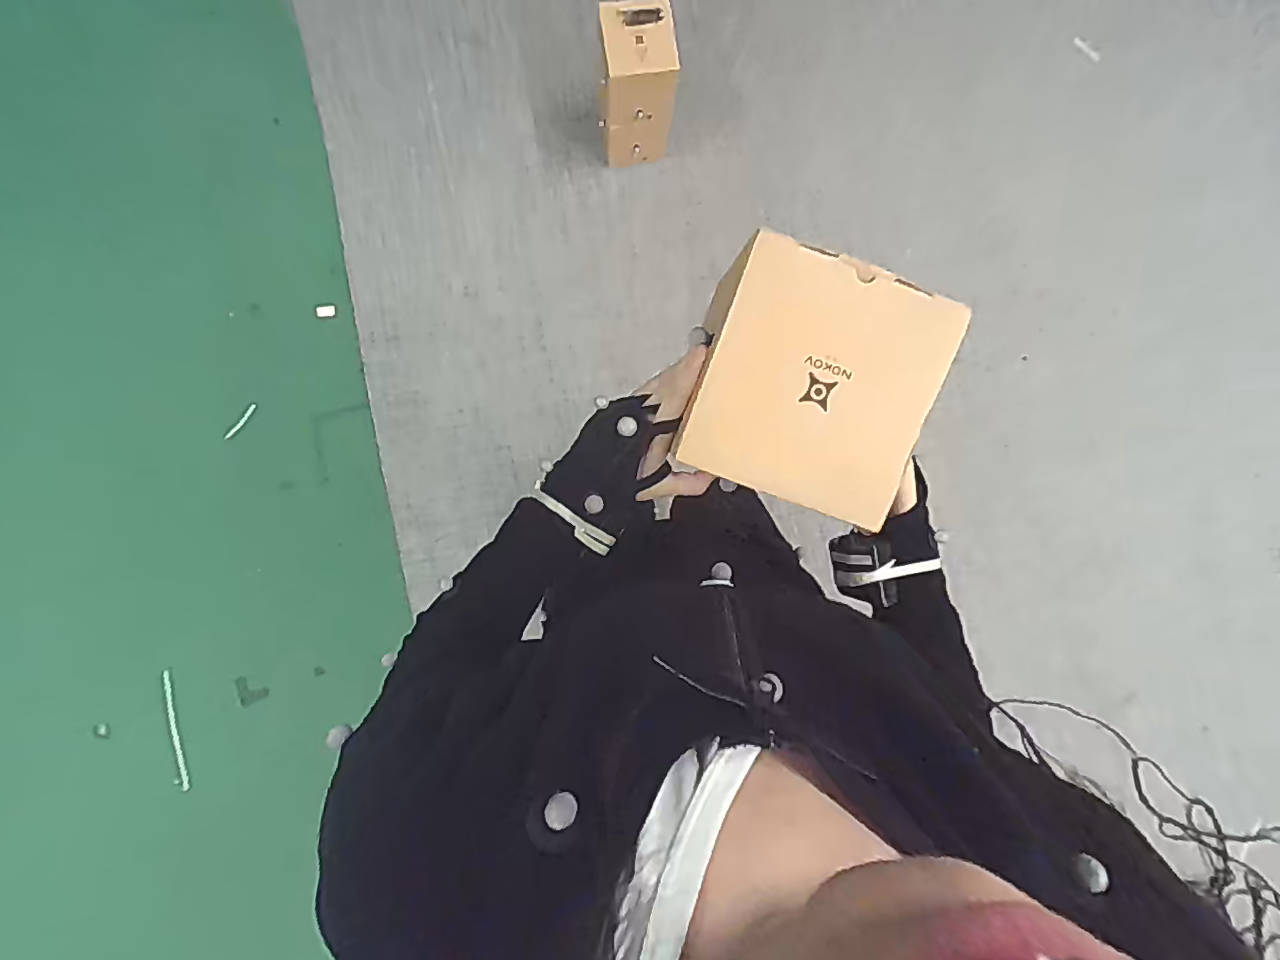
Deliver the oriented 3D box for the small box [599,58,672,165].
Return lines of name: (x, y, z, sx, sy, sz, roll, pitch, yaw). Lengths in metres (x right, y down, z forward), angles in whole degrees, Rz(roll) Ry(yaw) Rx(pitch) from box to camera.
small box: (-0.014, -0.989, 1.470, 0.168, 0.176, 0.179, -11, 89, -4)

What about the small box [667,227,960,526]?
small box: (0.127, -0.081, 0.473, 0.168, 0.176, 0.179, 19, 96, -2)
